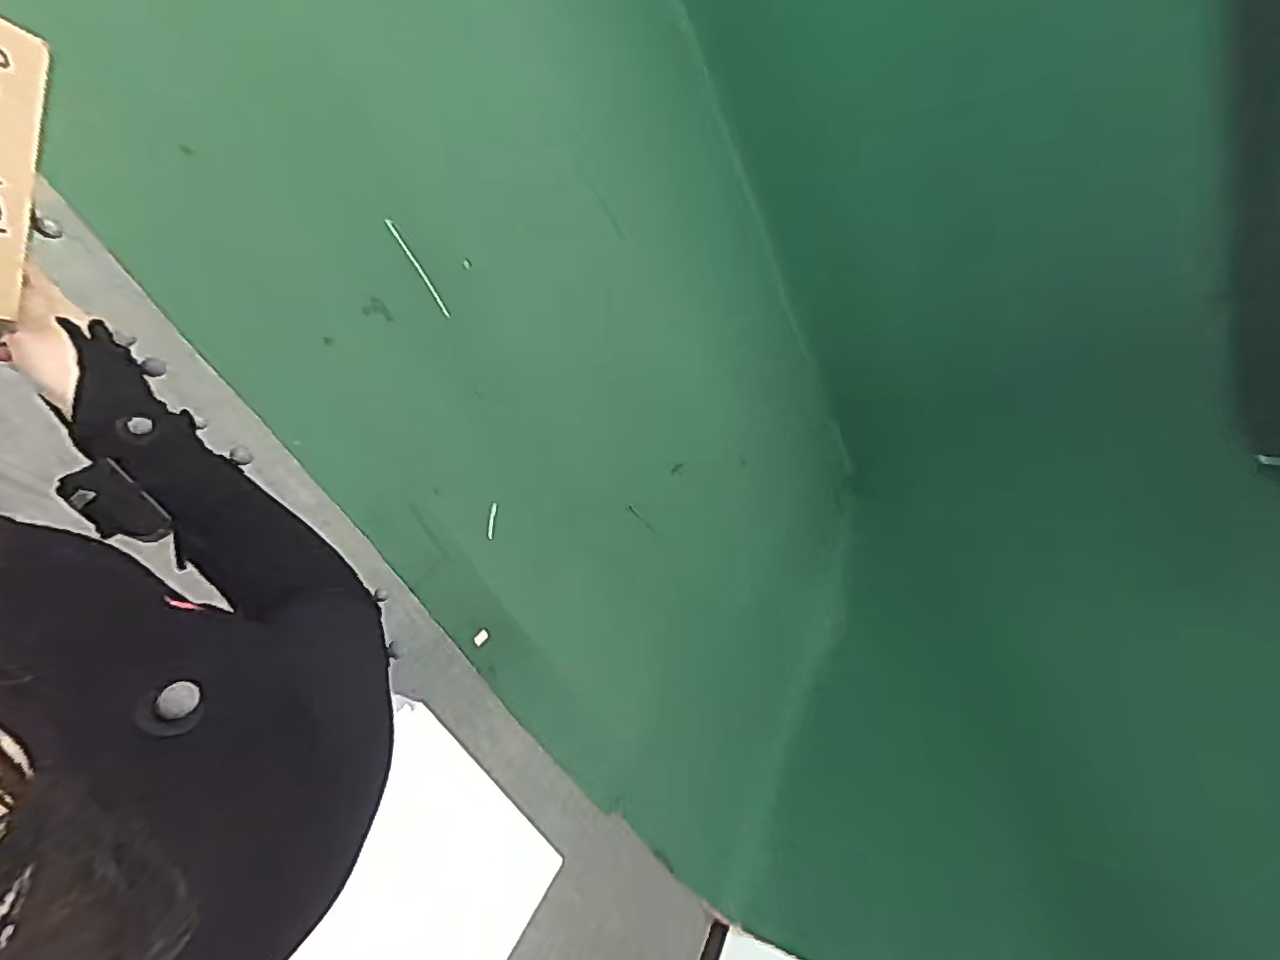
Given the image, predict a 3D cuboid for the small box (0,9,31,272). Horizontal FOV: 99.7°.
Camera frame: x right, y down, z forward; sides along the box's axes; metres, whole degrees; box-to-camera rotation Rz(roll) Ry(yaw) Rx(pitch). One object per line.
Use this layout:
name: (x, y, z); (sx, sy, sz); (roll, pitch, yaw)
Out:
small box: (-0.470, -0.189, 0.286); (0.179, 0.176, 0.168); (7, 89, -53)
